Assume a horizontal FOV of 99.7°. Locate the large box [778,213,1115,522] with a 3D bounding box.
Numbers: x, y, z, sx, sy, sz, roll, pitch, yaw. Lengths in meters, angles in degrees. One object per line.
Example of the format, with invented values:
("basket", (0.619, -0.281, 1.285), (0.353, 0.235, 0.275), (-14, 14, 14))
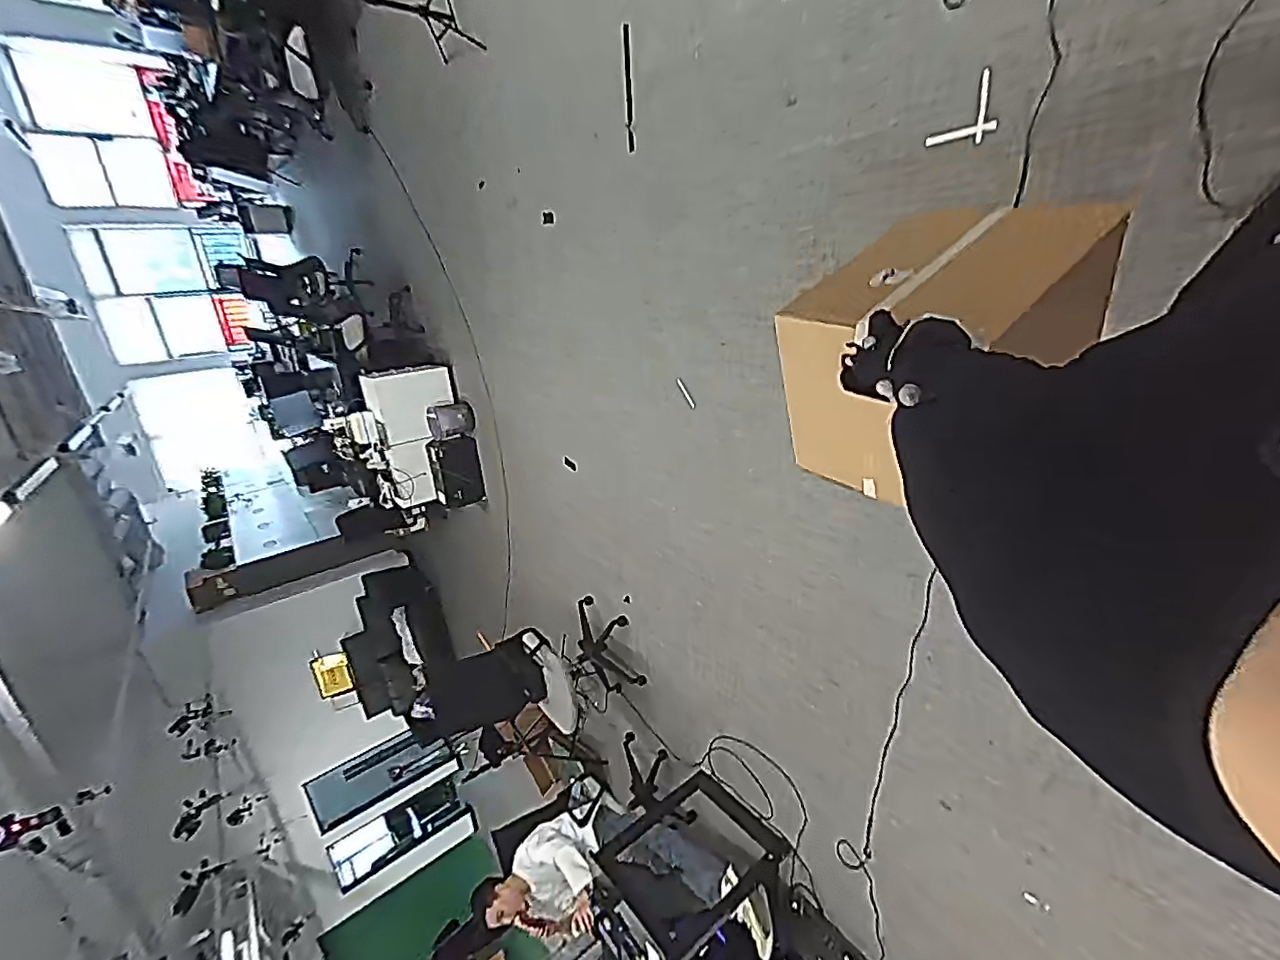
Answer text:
("large box", (0.494, -0.207, 0.905), (0.320, 0.408, 0.320), (29, 149, 47))
